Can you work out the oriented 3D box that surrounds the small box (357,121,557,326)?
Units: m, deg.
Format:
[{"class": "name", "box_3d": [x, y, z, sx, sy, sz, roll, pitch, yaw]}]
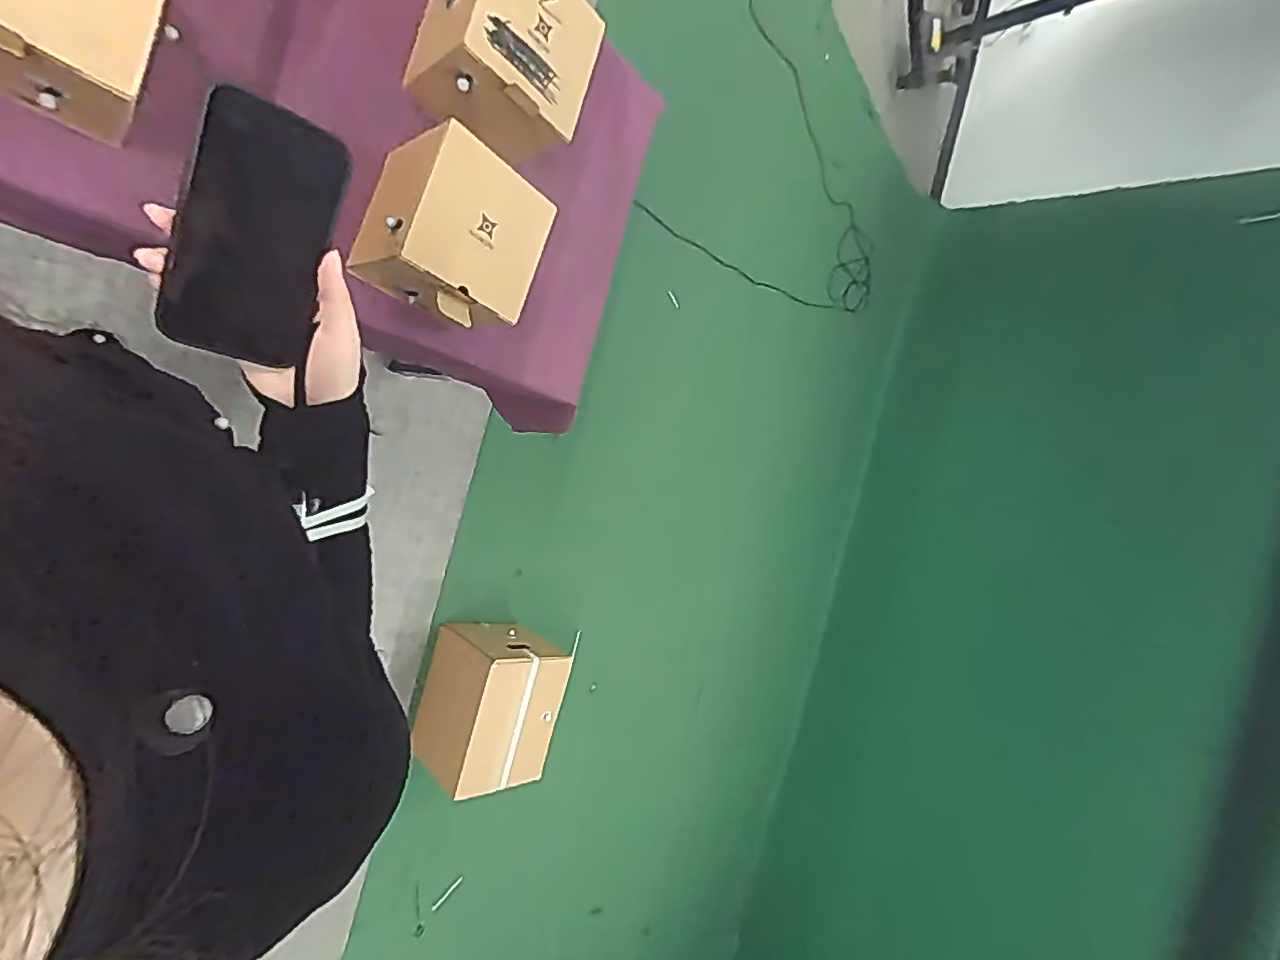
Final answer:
[{"class": "small box", "box_3d": [-0.244, -0.321, 0.715, 0.168, 0.176, 0.179, 23, 84, -47]}]

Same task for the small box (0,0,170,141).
[{"class": "small box", "box_3d": [-0.491, -0.411, 0.428, 0.168, 0.176, 0.179, 16, 88, -49]}]
